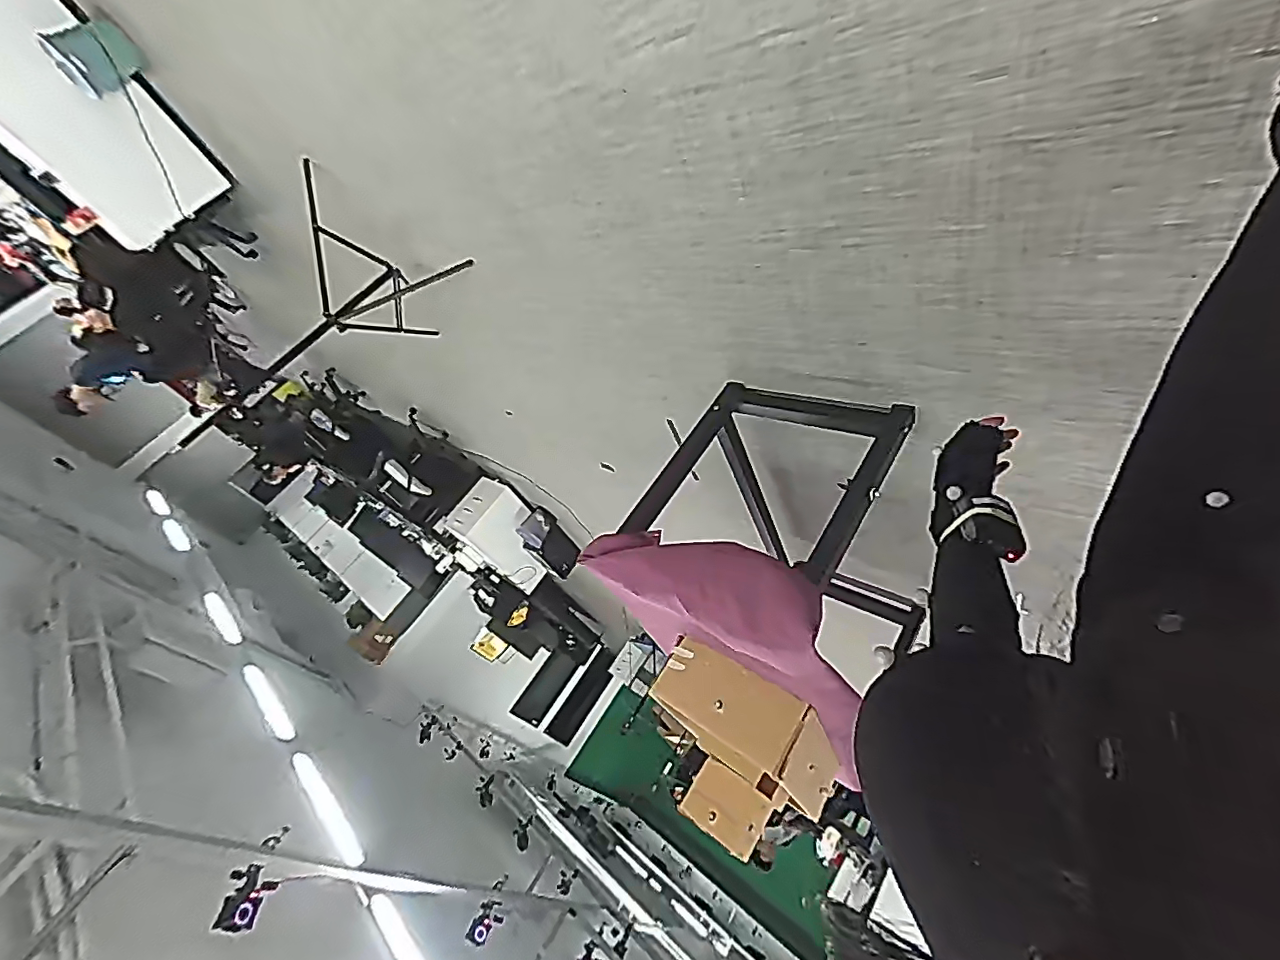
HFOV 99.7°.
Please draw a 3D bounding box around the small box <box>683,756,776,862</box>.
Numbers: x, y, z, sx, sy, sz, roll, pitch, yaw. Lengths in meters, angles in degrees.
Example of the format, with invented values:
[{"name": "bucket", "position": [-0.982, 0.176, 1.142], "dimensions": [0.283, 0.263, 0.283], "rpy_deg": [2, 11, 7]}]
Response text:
[{"name": "small box", "position": [0.255, 0.900, 1.488], "dimensions": [0.179, 0.176, 0.168], "rpy_deg": [20, 153, 41]}]
